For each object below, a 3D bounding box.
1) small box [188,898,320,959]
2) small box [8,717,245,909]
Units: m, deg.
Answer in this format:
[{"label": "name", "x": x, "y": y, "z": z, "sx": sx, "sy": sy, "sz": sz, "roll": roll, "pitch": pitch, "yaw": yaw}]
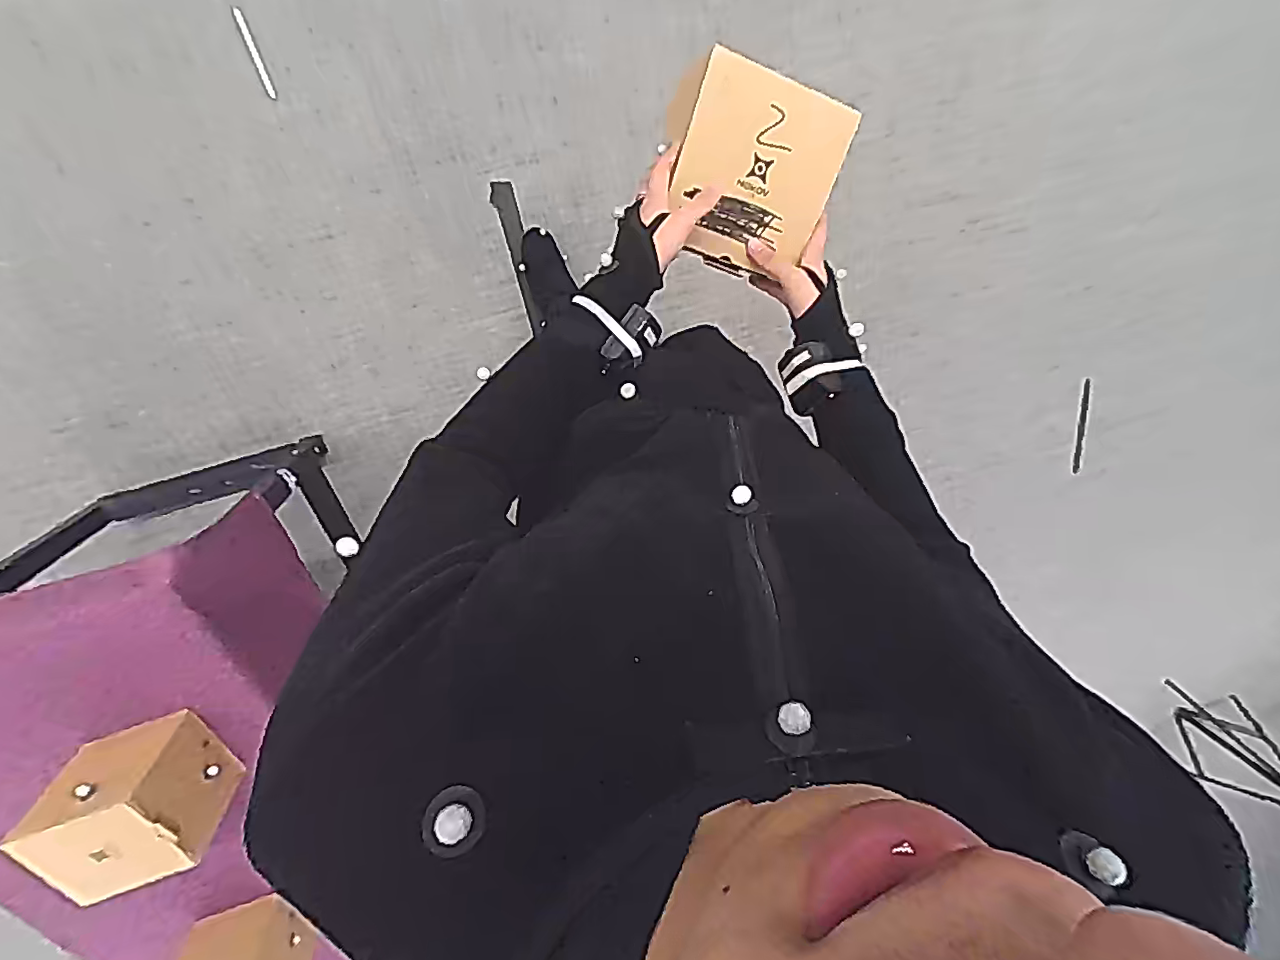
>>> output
[{"label": "small box", "x": -0.772, "y": 0.978, "z": 1.061, "sx": 0.179, "sy": 0.176, "sz": 0.168, "roll": -18, "pitch": 117, "yaw": -5}, {"label": "small box", "x": -0.782, "y": 0.514, "z": 0.851, "sx": 0.179, "sy": 0.176, "sz": 0.168, "roll": -19, "pitch": 117, "yaw": -5}]
